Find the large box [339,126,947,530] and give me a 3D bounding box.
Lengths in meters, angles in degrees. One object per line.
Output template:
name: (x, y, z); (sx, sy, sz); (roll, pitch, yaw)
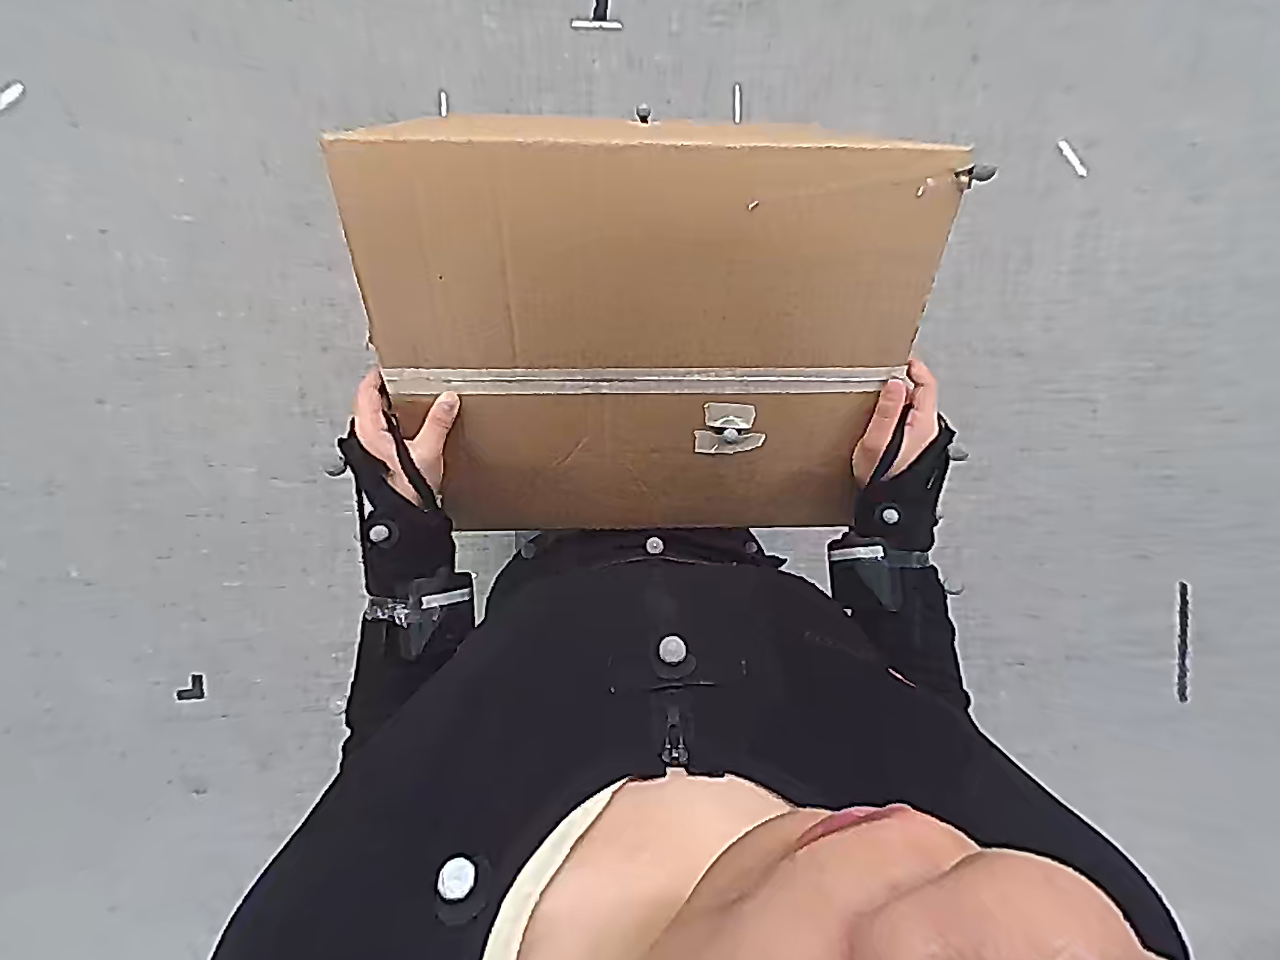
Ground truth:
large box: (-0.004, -0.171, 0.554); (0.408, 0.320, 0.320); (-2, 127, -3)
